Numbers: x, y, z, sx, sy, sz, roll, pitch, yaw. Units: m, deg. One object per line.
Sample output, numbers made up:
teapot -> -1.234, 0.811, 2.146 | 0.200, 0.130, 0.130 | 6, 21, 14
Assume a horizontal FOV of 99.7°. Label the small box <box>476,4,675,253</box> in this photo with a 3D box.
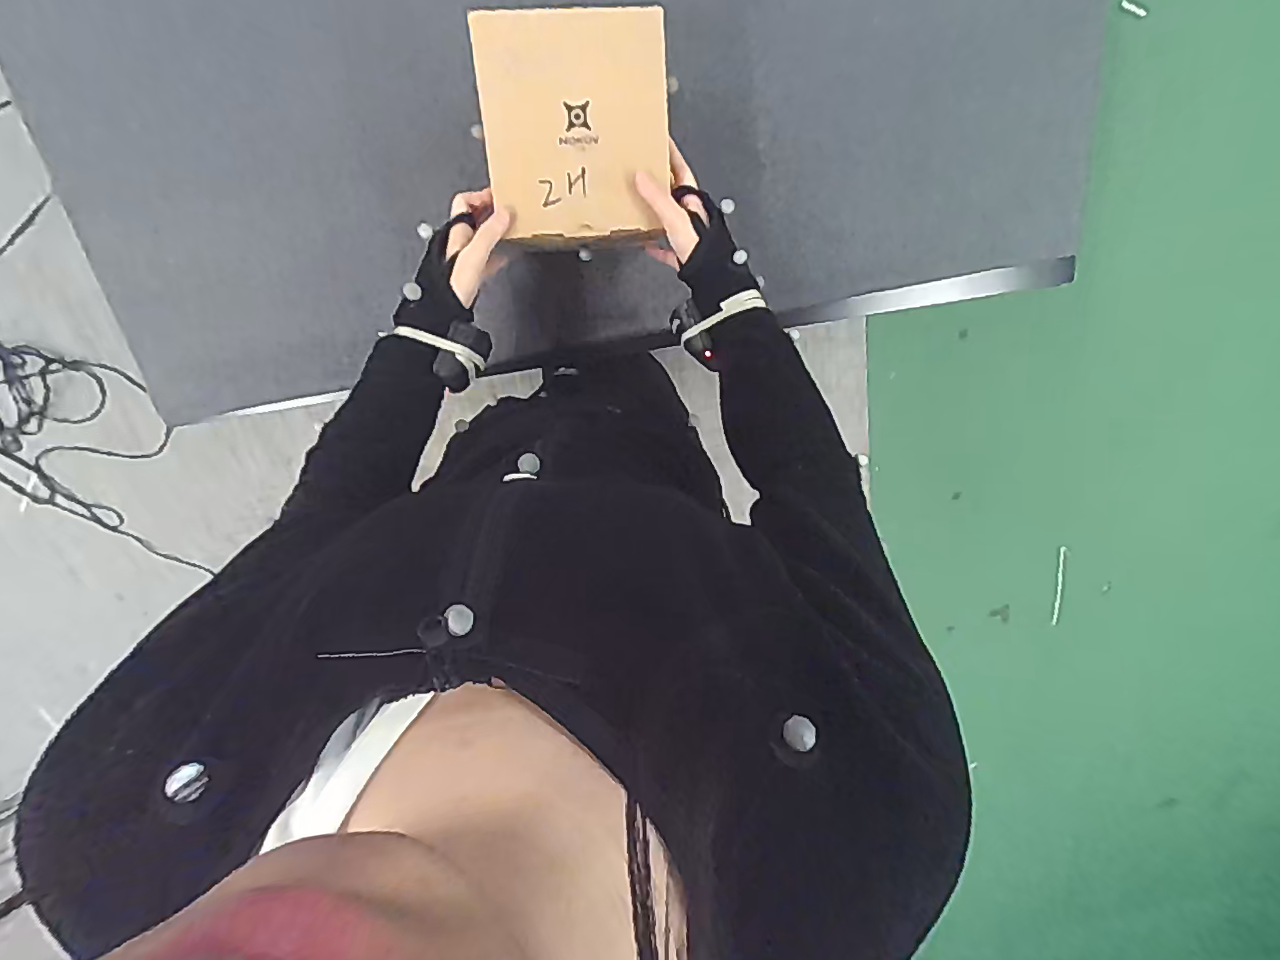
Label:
small box -> -0.061, -0.337, 0.553 | 0.168, 0.176, 0.179 | -5, 108, -4
